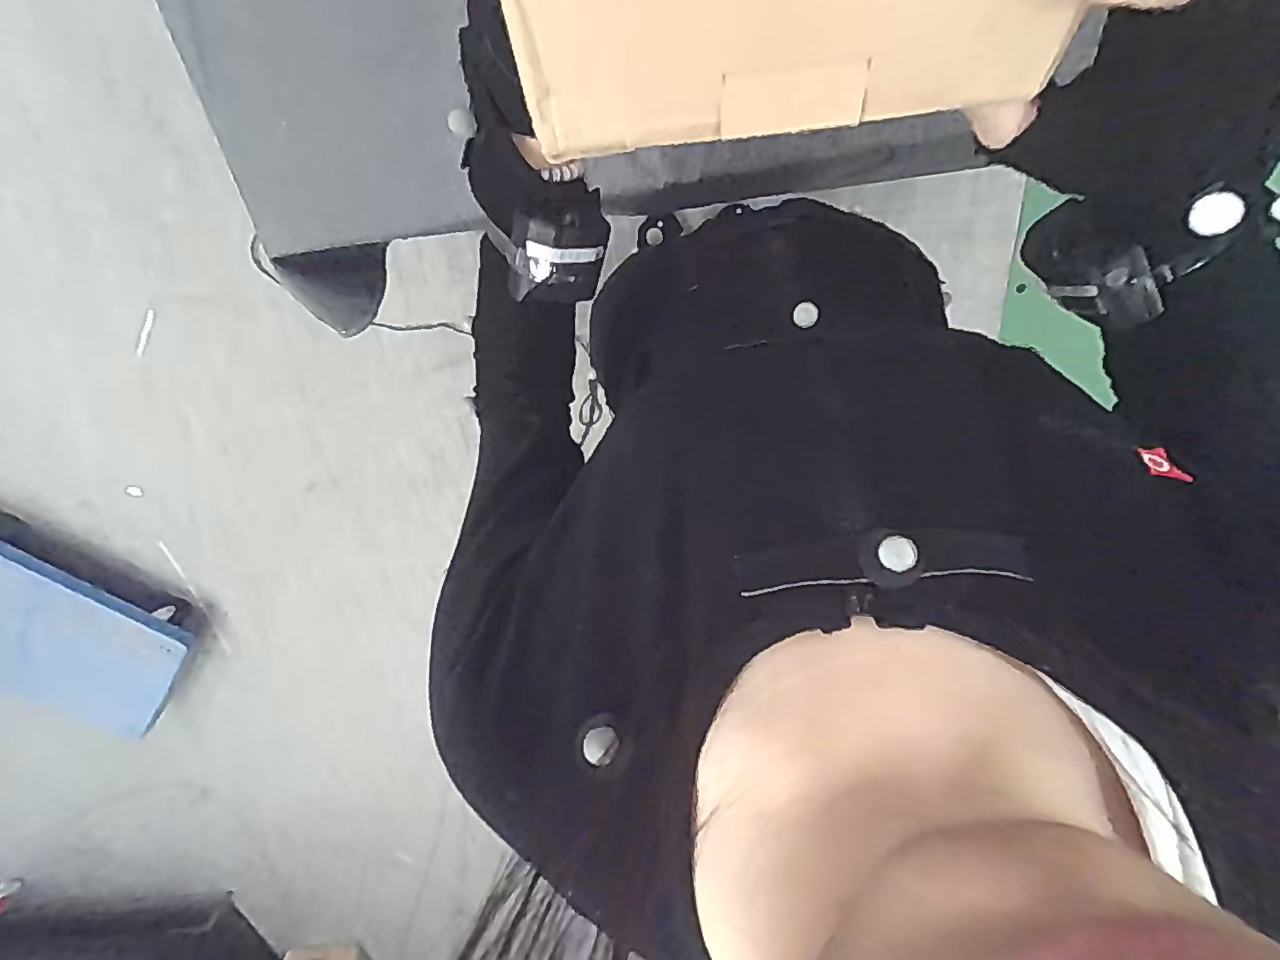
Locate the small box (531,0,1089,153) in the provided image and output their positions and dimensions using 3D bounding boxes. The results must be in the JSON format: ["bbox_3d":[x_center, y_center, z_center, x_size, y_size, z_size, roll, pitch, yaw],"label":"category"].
[{"bbox_3d":[0.037,-0.232,0.150,0.168,0.179,0.176,-7,150,1],"label":"small box"}]
